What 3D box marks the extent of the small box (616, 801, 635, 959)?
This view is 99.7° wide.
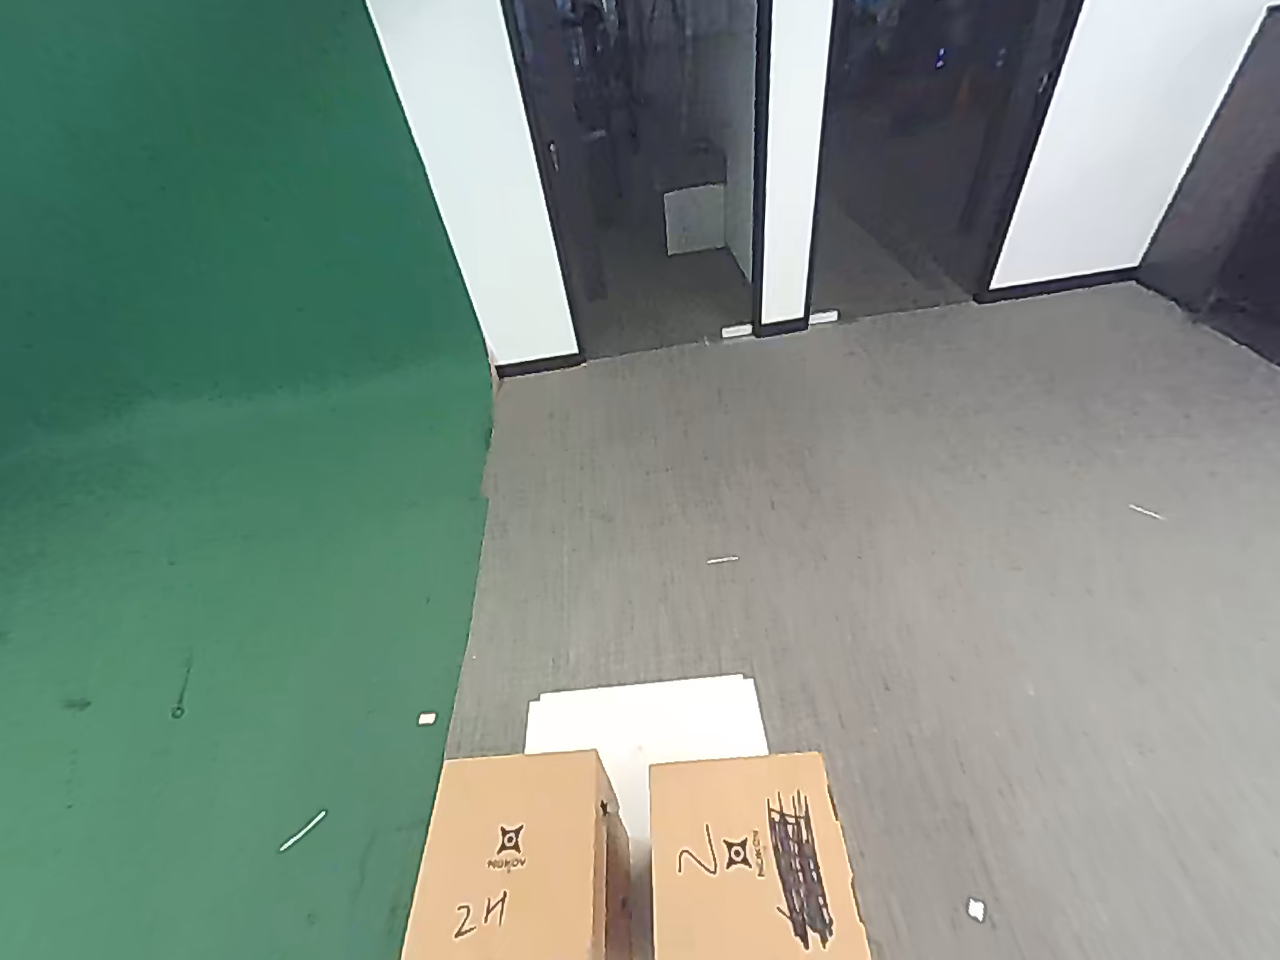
[{"bbox_3d":[-0.098,0.528,0.678,0.168,0.176,0.179,-6,44,3],"label":"small box"}]

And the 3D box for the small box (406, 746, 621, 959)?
[{"bbox_3d":[-0.112,0.406,0.569,0.168,0.176,0.179,-6,43,3],"label":"small box"}]

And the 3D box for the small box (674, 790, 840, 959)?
[{"bbox_3d":[0.133,0.505,0.661,0.168,0.176,0.179,-7,44,5],"label":"small box"}]
